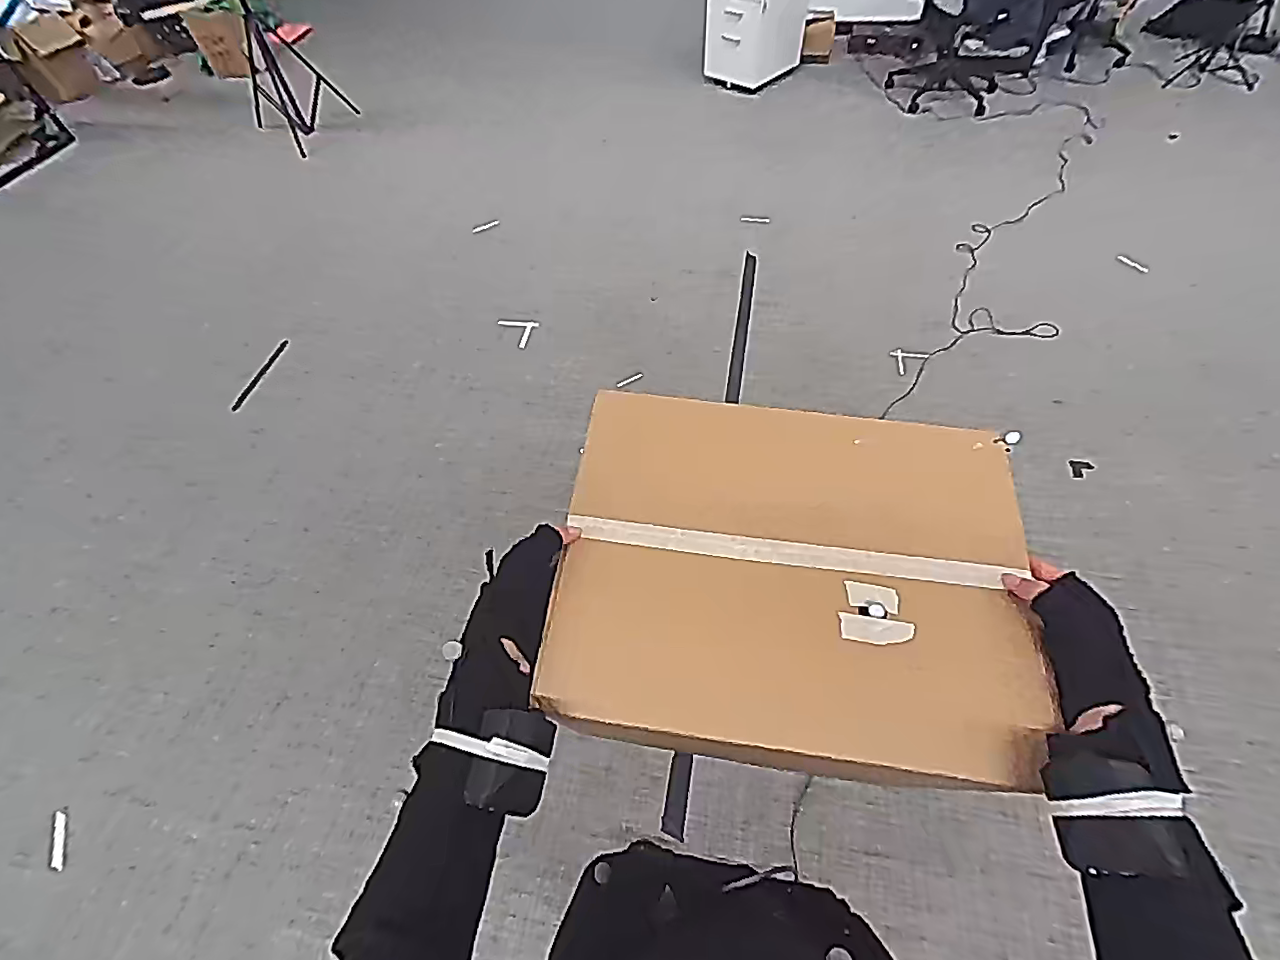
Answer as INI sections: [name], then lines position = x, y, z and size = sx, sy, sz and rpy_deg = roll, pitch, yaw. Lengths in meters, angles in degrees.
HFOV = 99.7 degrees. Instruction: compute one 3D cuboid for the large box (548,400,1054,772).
[large box]
position = 0.138, 0.137, 0.622
size = 0.408, 0.320, 0.320
rpy_deg = 7, 63, 4
